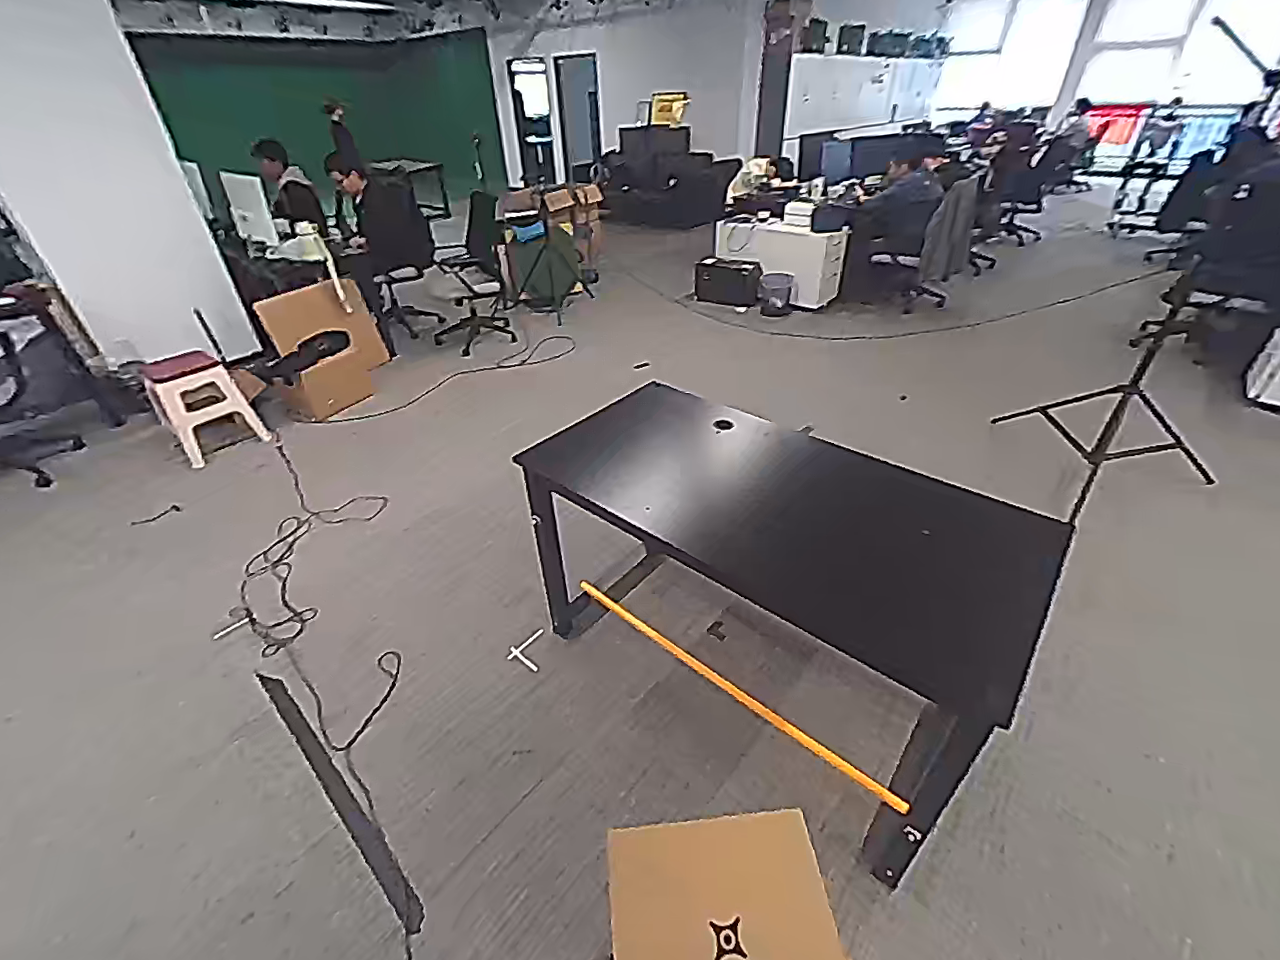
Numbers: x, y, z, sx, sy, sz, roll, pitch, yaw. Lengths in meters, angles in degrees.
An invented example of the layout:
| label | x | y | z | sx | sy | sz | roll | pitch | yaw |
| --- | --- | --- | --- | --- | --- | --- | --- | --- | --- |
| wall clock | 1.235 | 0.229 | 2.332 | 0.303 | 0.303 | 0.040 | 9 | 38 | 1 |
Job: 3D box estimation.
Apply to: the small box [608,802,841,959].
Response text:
| label | x | y | z | sx | sy | sz | roll | pitch | yaw |
| --- | --- | --- | --- | --- | --- | --- | --- | --- | --- |
| small box | 0.060 | 0.396 | 0.442 | 0.168 | 0.176 | 0.179 | -4 | 41 | -5 |
